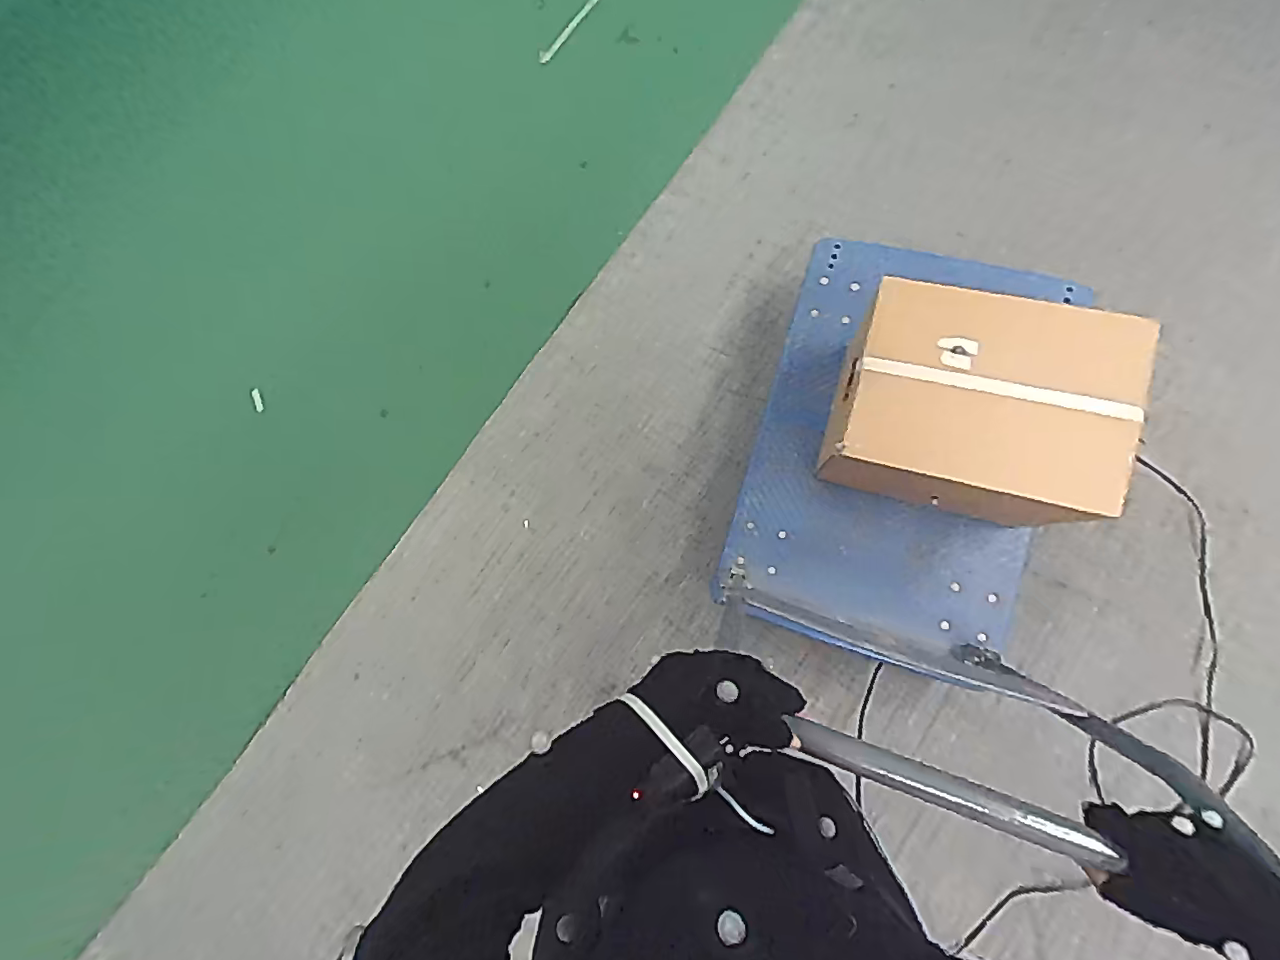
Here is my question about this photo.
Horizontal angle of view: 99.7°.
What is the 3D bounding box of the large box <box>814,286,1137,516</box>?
[{"bbox_3d":[0.575,-0.127,1.010,0.408,0.320,0.320,14,86,13],"label":"large box"}]
